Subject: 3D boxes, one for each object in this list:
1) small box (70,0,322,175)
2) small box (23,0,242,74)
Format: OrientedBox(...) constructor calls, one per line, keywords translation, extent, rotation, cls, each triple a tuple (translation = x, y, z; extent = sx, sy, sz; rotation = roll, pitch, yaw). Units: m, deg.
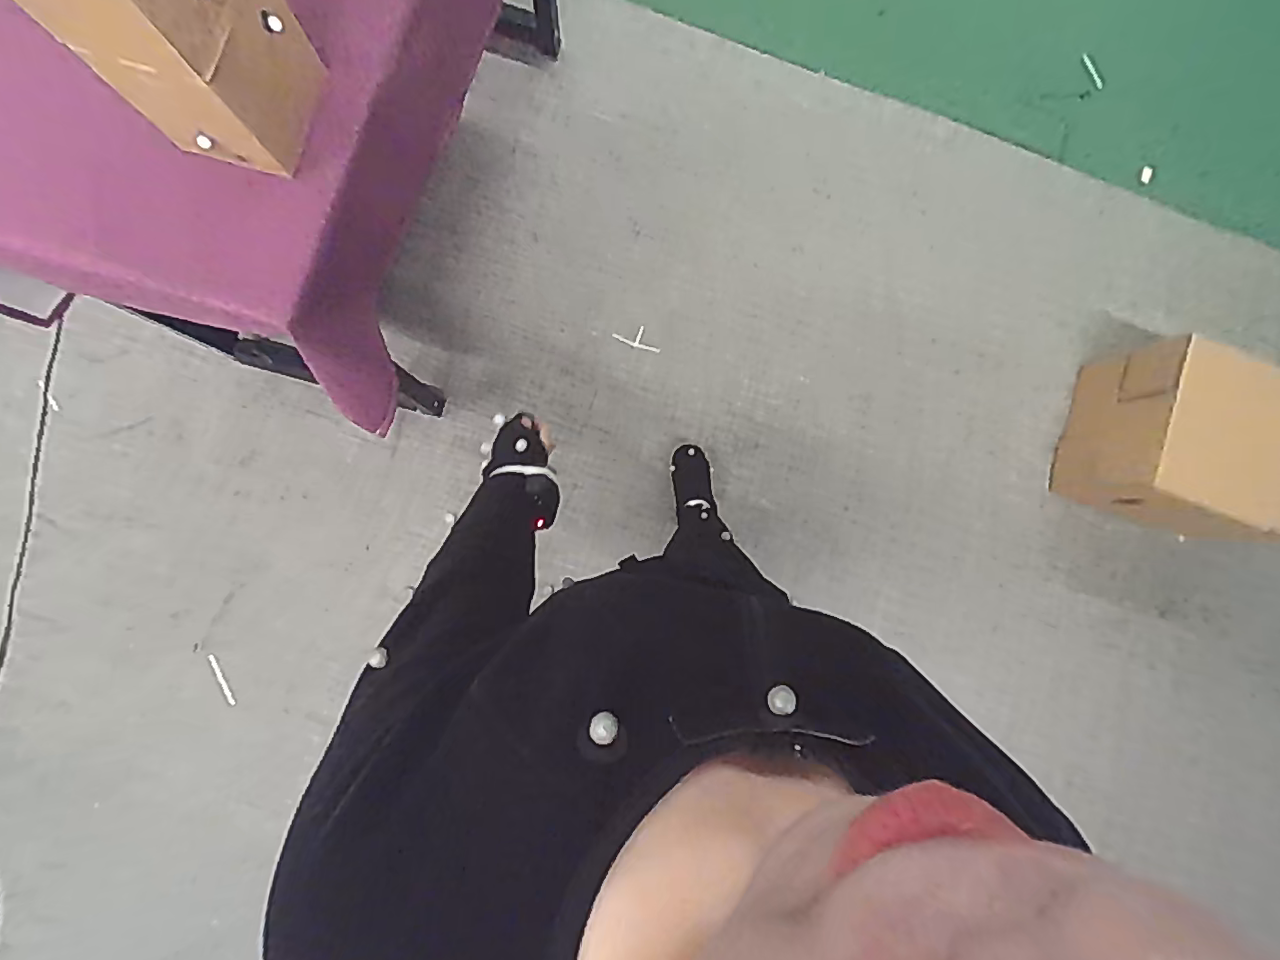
OrientedBox(translation=(-0.553, -0.547, 0.705), extent=(0.168, 0.176, 0.179), rotation=(16, 84, -1), cls="small box")
OrientedBox(translation=(-0.549, -0.561, 0.542), extent=(0.179, 0.176, 0.168), rotation=(16, 84, -3), cls="small box")
